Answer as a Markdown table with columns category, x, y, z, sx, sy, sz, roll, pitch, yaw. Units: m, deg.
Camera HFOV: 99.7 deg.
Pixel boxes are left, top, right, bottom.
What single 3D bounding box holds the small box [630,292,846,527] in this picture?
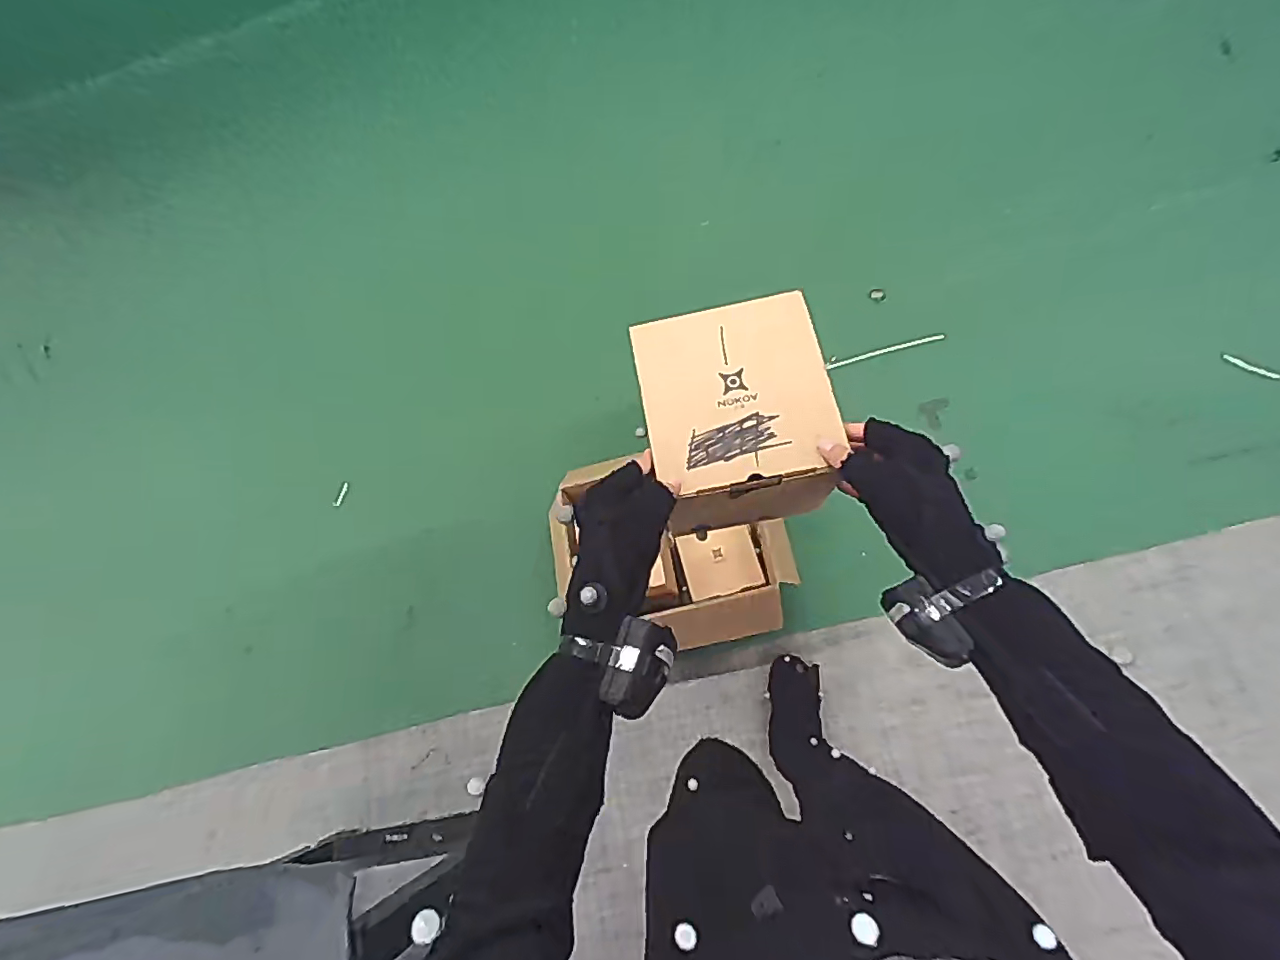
| category | x | y | z | sx | sy | sz | roll | pitch | yaw |
| --- | --- | --- | --- | --- | --- | --- | --- | --- | --- |
| small box | 0.093 | -0.057 | 0.559 | 0.168 | 0.176 | 0.179 | -11 | 71 | 4 |
